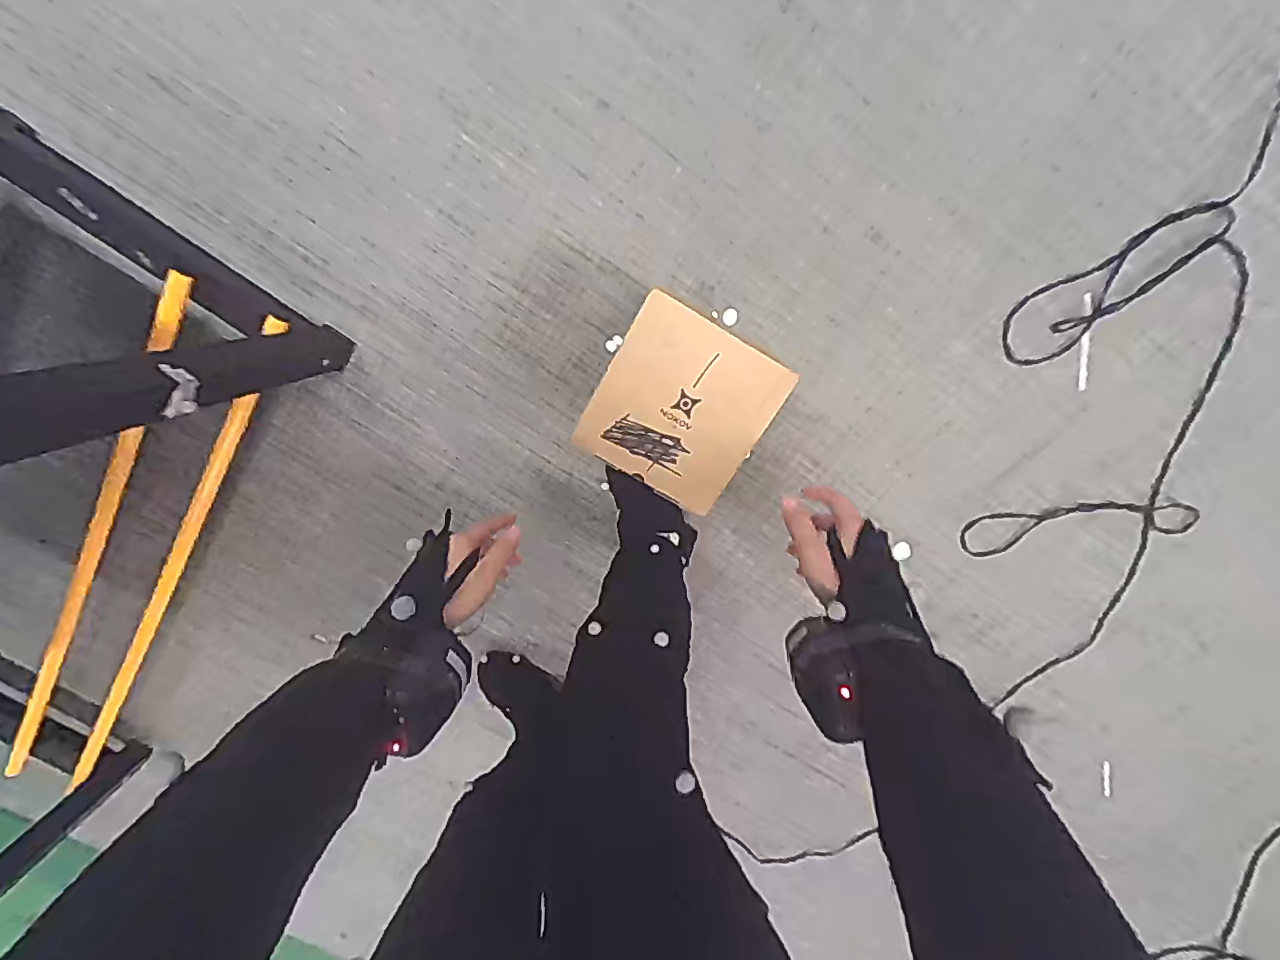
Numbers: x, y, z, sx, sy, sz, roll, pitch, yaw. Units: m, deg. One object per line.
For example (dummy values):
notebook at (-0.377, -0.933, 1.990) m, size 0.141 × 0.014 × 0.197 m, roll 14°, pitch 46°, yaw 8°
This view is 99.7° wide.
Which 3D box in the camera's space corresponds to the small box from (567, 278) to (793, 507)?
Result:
small box at (0.042, -0.105, 0.609) m, size 0.168 × 0.176 × 0.179 m, roll 30°, pitch 109°, yaw -8°
